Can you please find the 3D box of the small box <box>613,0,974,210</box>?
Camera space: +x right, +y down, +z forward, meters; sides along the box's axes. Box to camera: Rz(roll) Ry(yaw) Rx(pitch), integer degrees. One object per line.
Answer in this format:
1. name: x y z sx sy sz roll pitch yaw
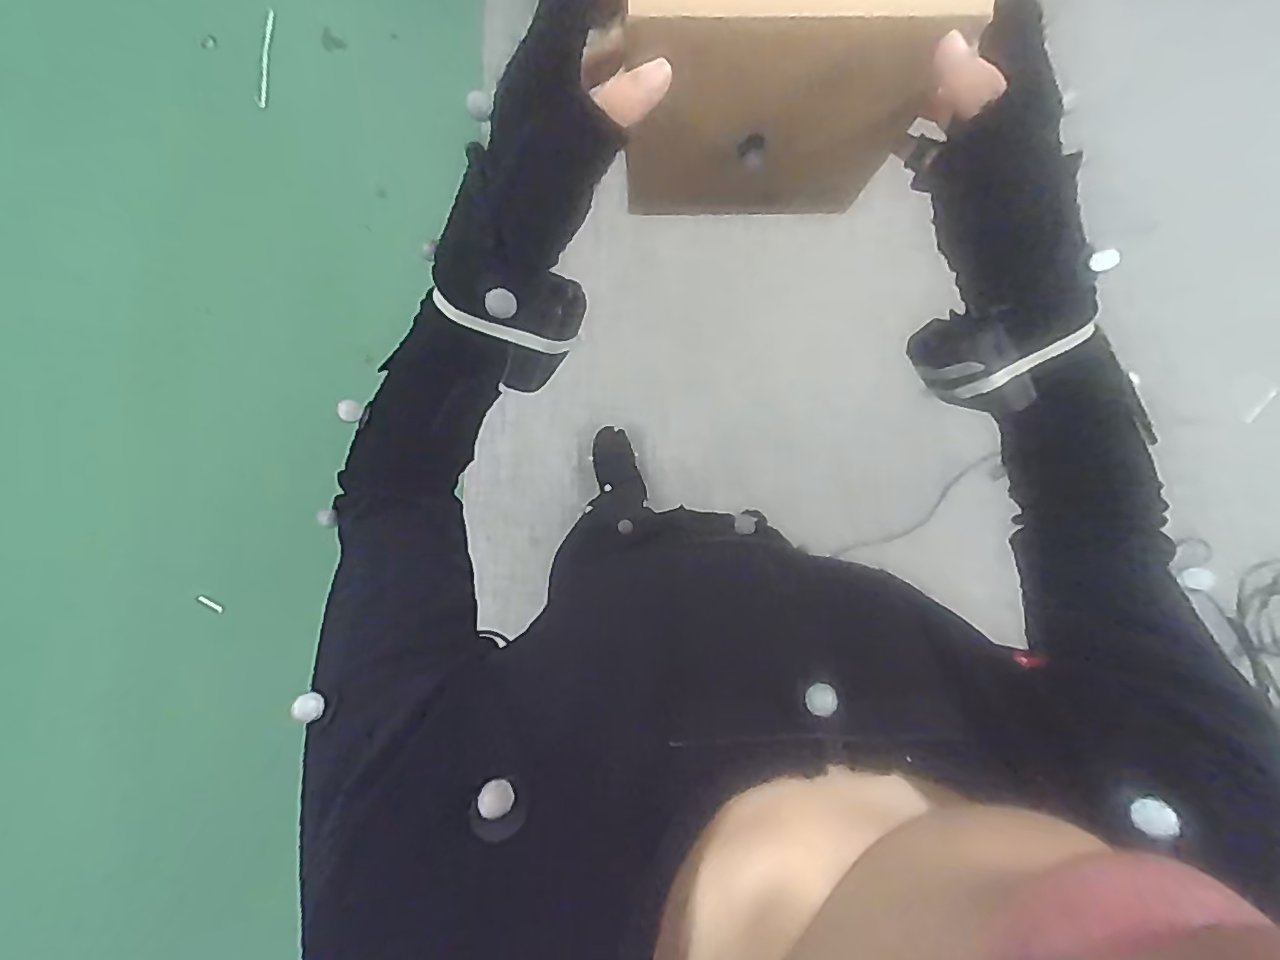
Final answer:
1. small box: 0.069 -0.288 0.328 0.168 0.176 0.179 -1 87 -1
